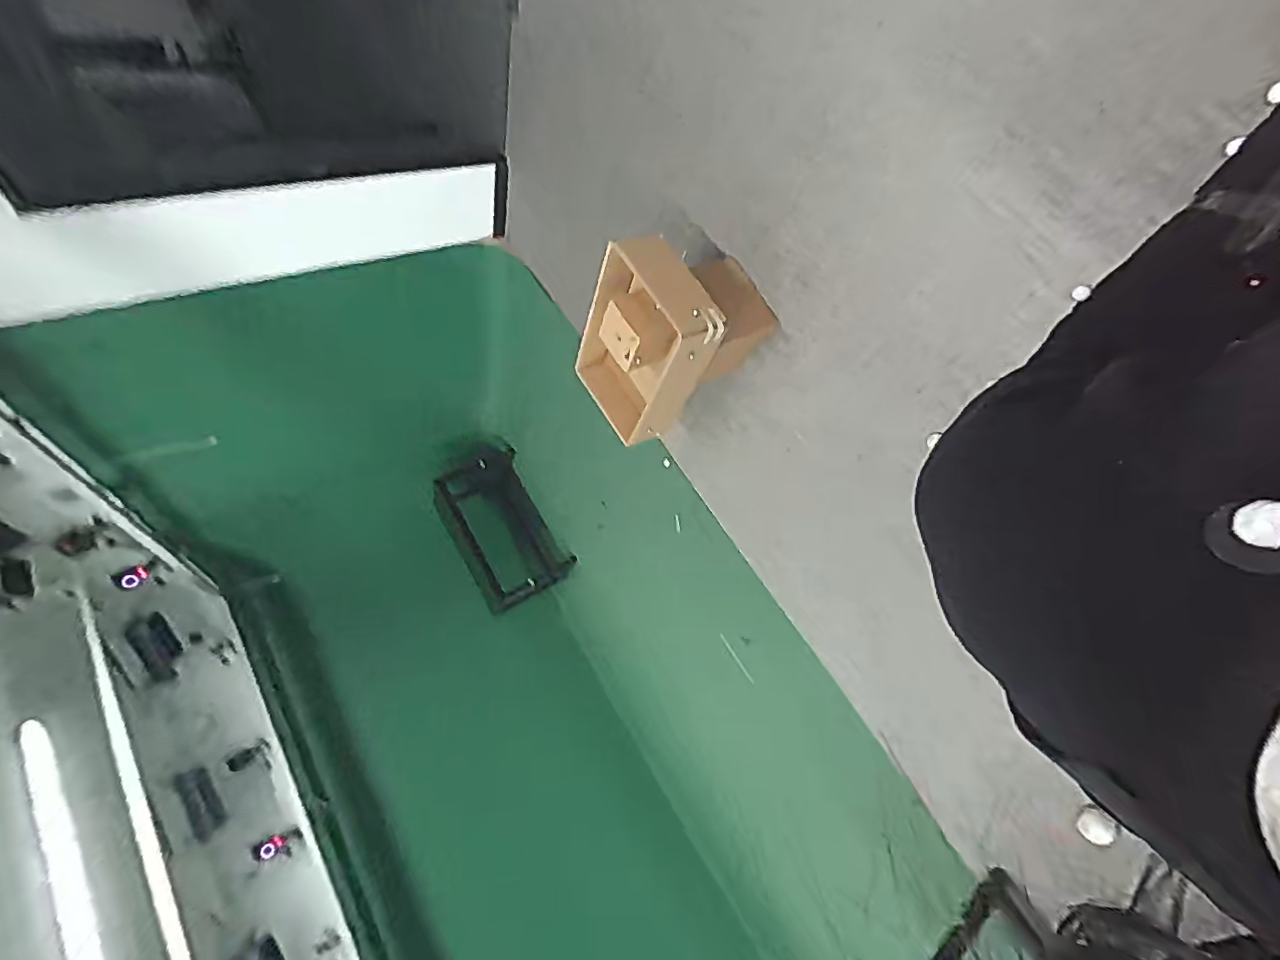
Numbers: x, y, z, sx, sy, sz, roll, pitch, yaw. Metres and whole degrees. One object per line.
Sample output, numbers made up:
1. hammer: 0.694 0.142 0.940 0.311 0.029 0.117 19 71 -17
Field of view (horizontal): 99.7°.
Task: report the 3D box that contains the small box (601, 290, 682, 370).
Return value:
1. small box: 0.003 -0.486 1.732 0.179 0.176 0.168 58 153 14
